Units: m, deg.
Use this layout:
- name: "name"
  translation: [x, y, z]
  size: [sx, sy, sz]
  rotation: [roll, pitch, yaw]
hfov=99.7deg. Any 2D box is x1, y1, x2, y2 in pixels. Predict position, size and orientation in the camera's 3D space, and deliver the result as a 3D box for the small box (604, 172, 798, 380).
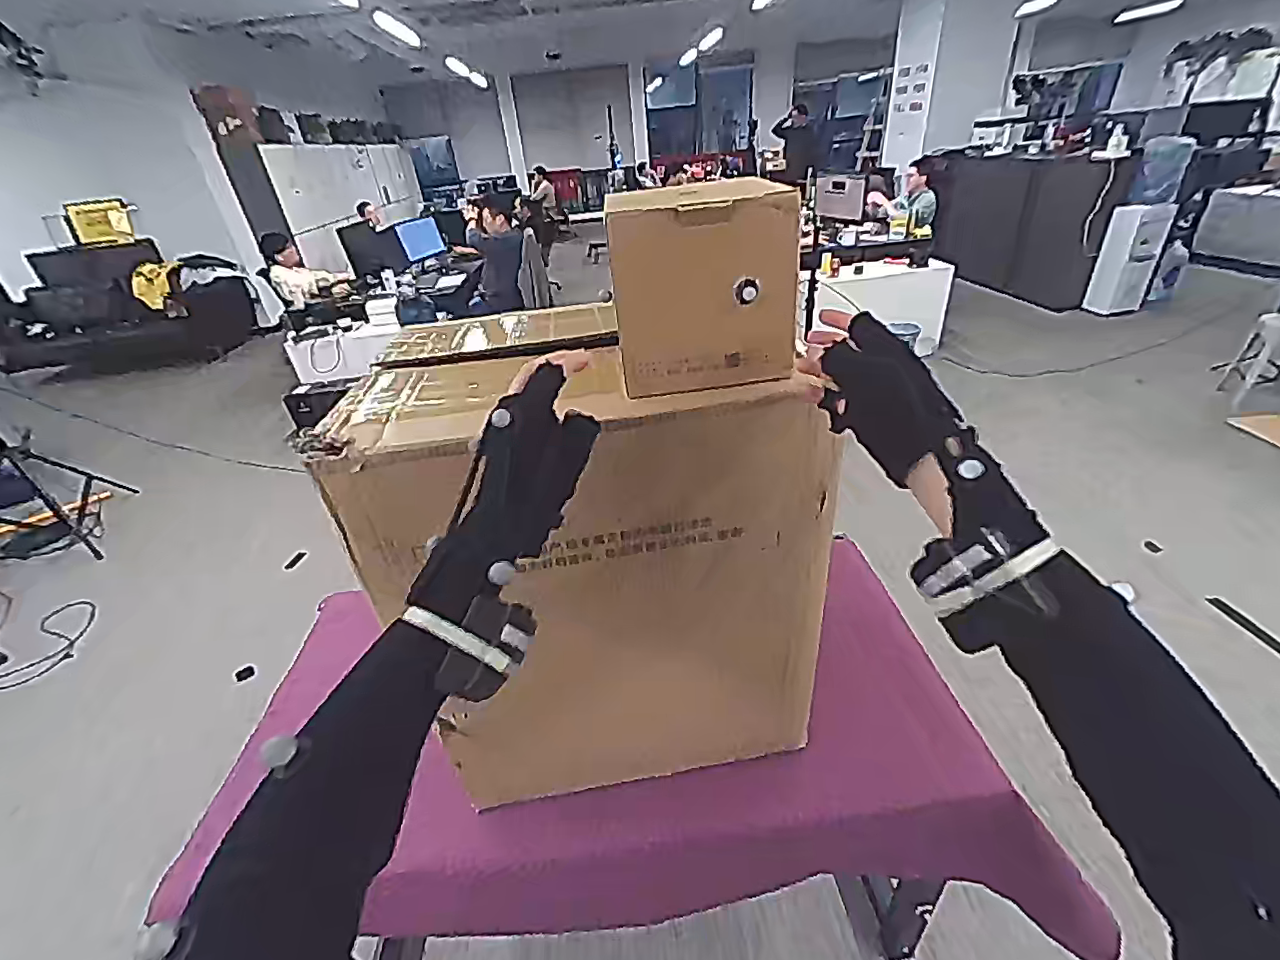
- name: "small box"
  translation: [0.055, -0.207, 0.554]
  size: [0.168, 0.176, 0.179]
  rotation: [-7, 31, 0]
